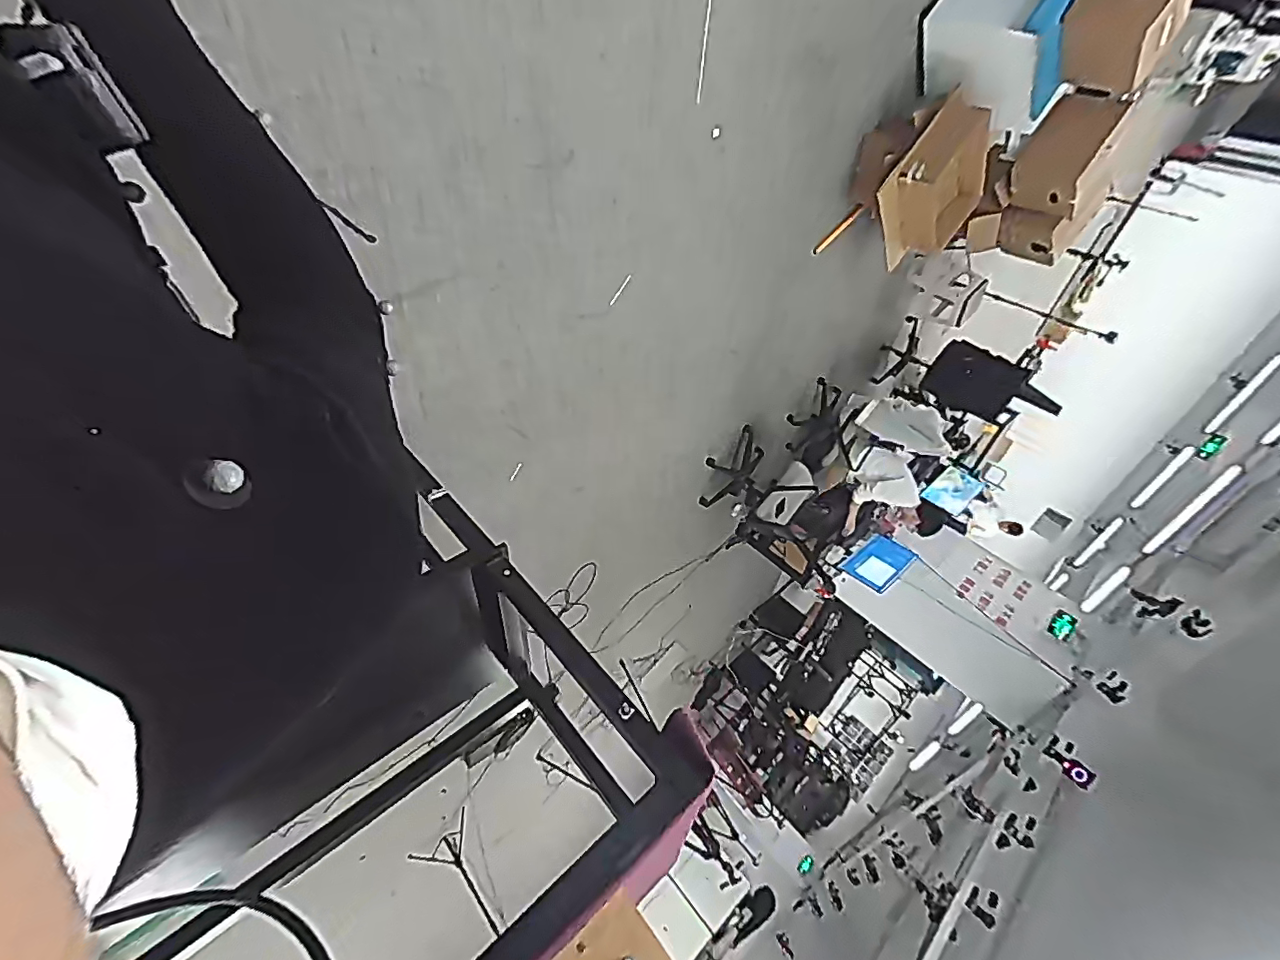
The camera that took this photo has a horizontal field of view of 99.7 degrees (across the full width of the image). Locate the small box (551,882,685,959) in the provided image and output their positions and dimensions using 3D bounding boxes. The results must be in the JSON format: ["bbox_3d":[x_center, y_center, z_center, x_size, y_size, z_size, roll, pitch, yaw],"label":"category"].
[{"bbox_3d":[-0.045,0.836,0.921,0.168,0.176,0.179,-28,144,-35],"label":"small box"}]
